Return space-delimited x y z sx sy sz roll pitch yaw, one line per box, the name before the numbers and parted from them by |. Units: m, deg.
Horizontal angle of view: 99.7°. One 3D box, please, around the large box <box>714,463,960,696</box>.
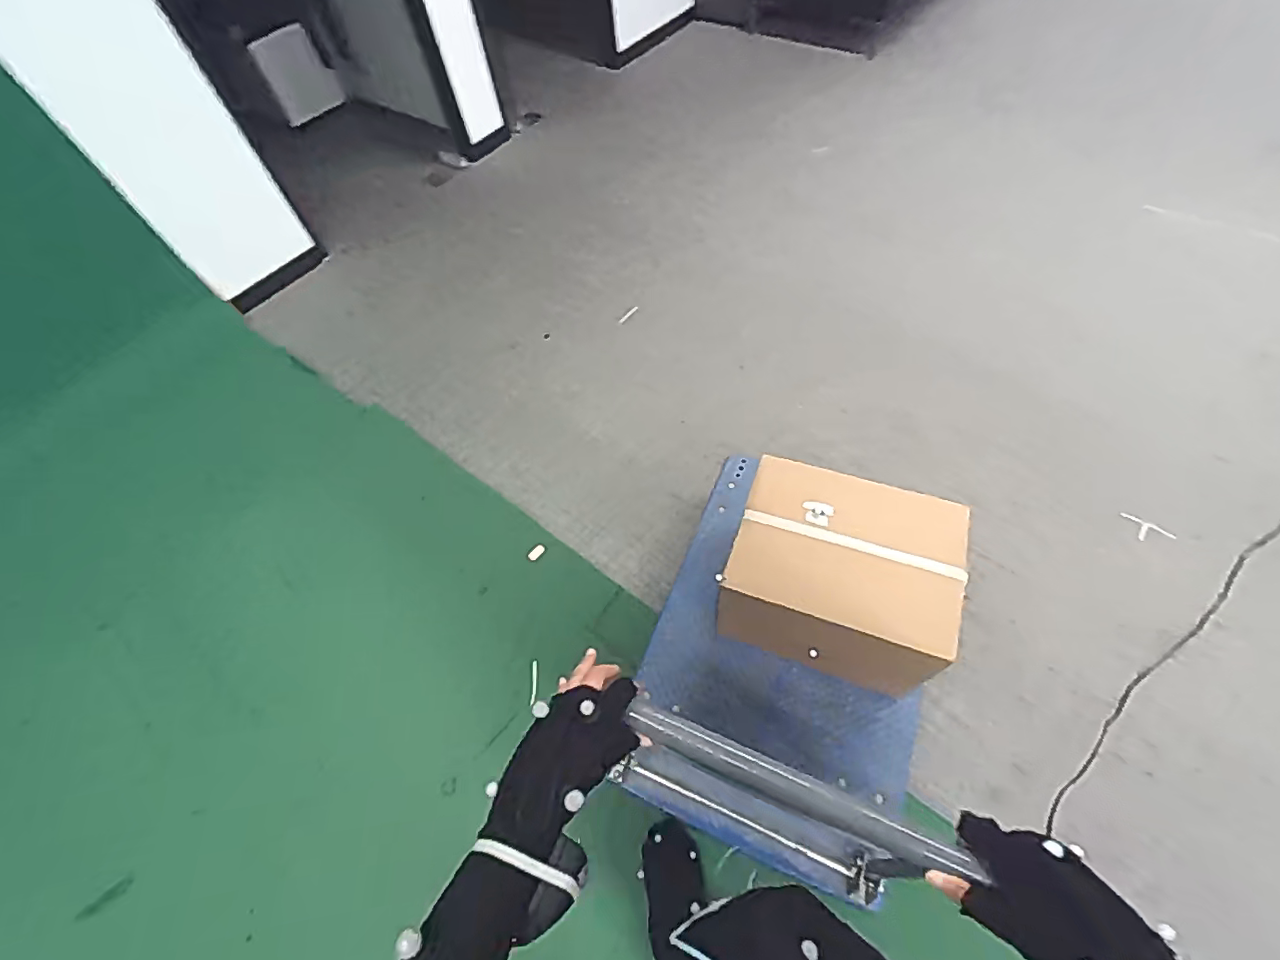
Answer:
large box | 0.392 0.212 1.137 0.408 0.320 0.320 15 60 17
